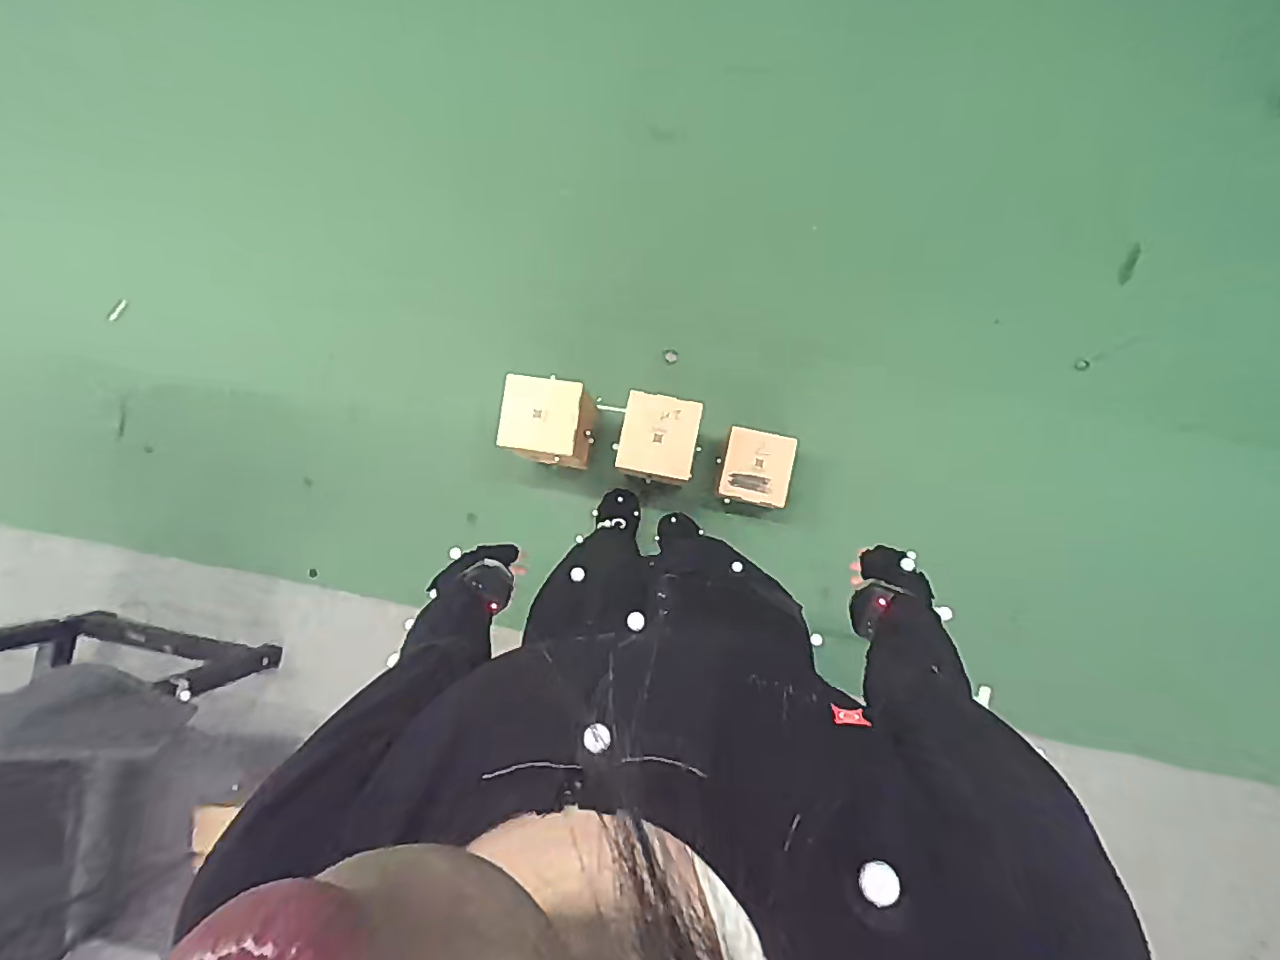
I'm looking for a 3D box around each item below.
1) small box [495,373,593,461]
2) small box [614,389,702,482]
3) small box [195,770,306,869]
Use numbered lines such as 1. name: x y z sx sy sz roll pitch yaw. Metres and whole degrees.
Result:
1. small box: -0.220 -0.143 1.278 0.179 0.176 0.168 9 87 3
2. small box: 0.043 -0.095 1.259 0.168 0.176 0.179 12 88 3
3. small box: -1.029 0.894 1.436 0.179 0.176 0.168 -1 88 4
